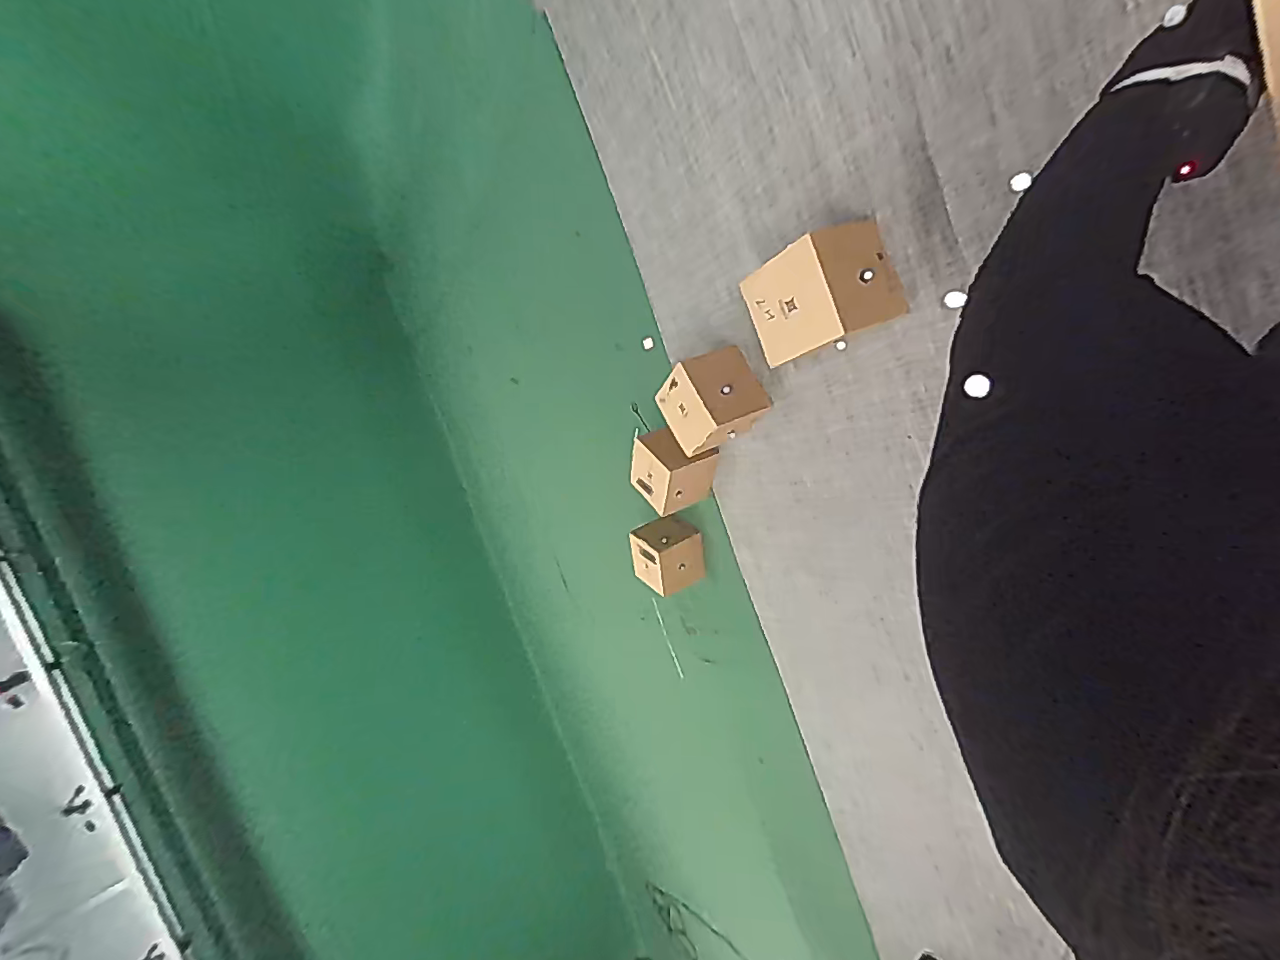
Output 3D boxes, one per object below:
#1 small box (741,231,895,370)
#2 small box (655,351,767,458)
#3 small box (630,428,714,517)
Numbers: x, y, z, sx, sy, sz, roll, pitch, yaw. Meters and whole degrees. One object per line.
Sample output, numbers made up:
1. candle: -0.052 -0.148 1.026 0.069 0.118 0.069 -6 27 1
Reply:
1. small box: 0.314 -0.311 0.942 0.179 0.176 0.168 -15 96 61
2. small box: 0.169 -0.183 1.290 0.179 0.176 0.168 62 152 11
3. small box: 0.090 -0.031 1.536 0.168 0.176 0.179 48 145 34
